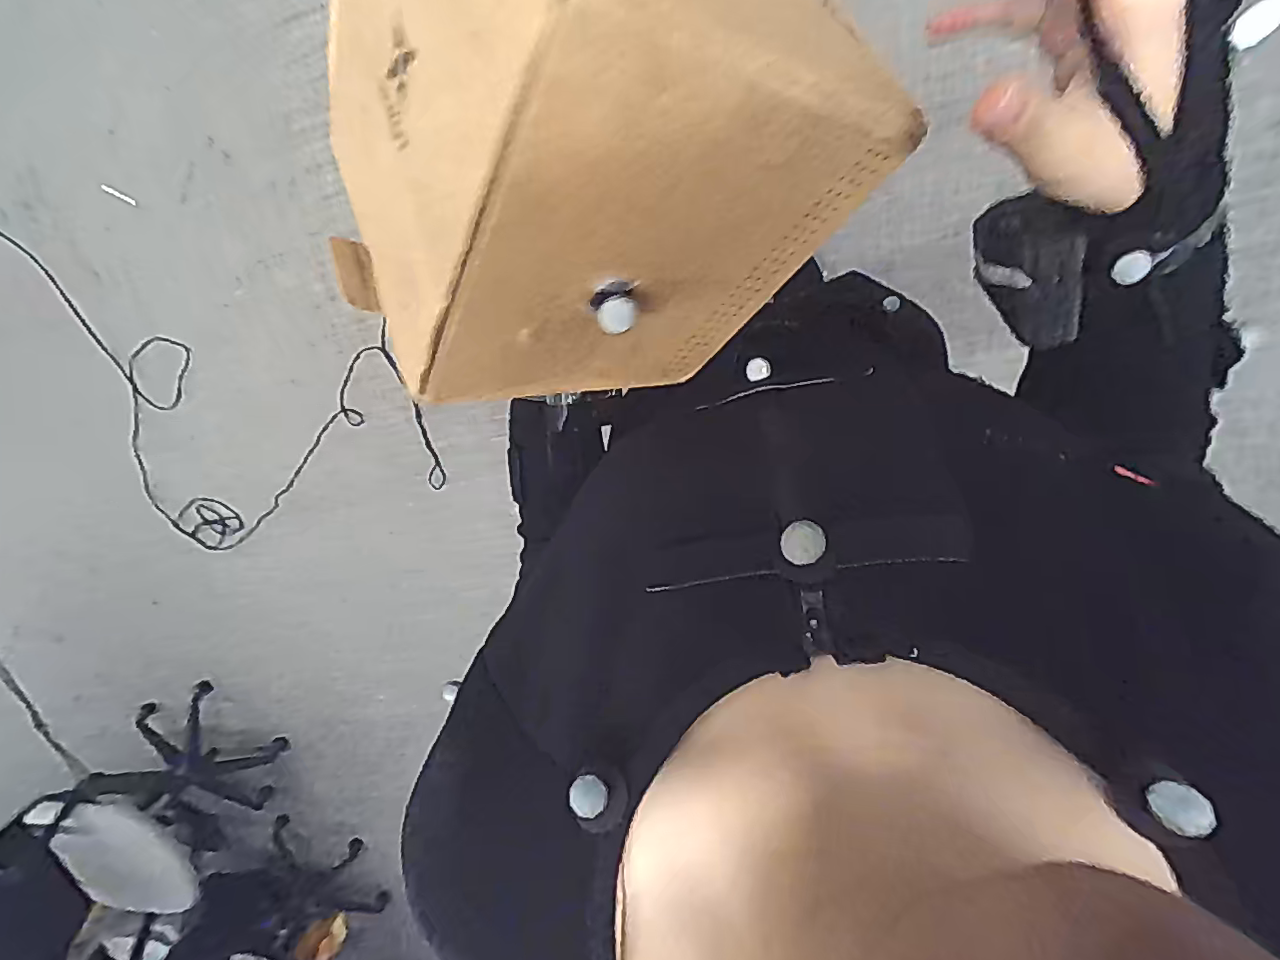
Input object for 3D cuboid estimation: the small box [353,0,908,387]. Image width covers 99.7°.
[{"bbox_3d":[-0.019,-0.163,0.257,0.179,0.176,0.168,-43,67,48],"label":"small box"}]
